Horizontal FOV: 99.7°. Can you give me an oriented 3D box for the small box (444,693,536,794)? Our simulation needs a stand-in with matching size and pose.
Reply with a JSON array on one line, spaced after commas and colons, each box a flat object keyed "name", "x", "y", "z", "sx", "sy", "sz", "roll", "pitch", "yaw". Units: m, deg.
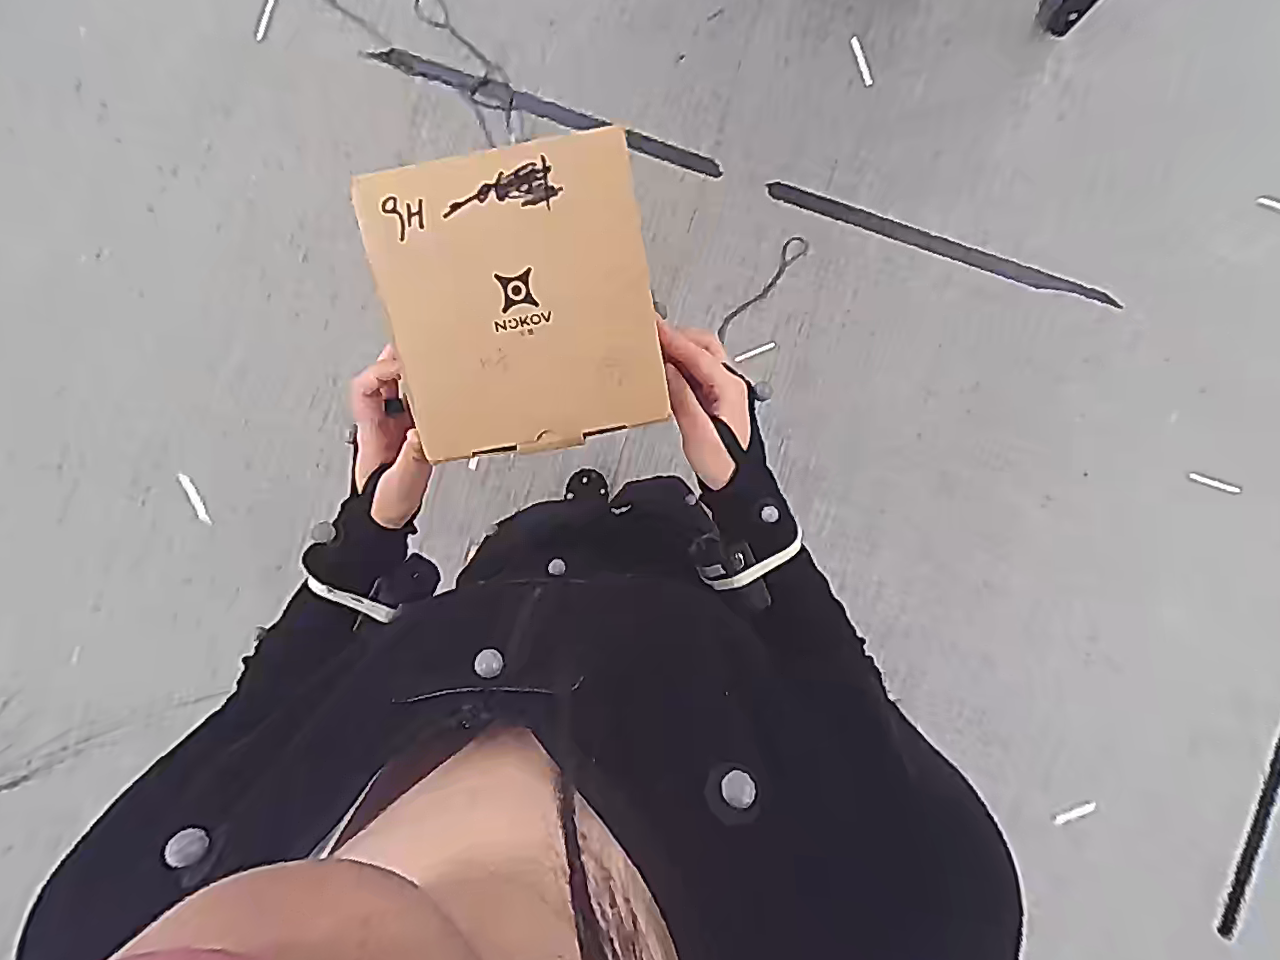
[{"name": "small box", "x": -0.382, "y": 0.674, "z": 1.401, "sx": 0.179, "sy": 0.176, "sz": 0.168, "roll": 11, "pitch": 91, "yaw": -2}]
